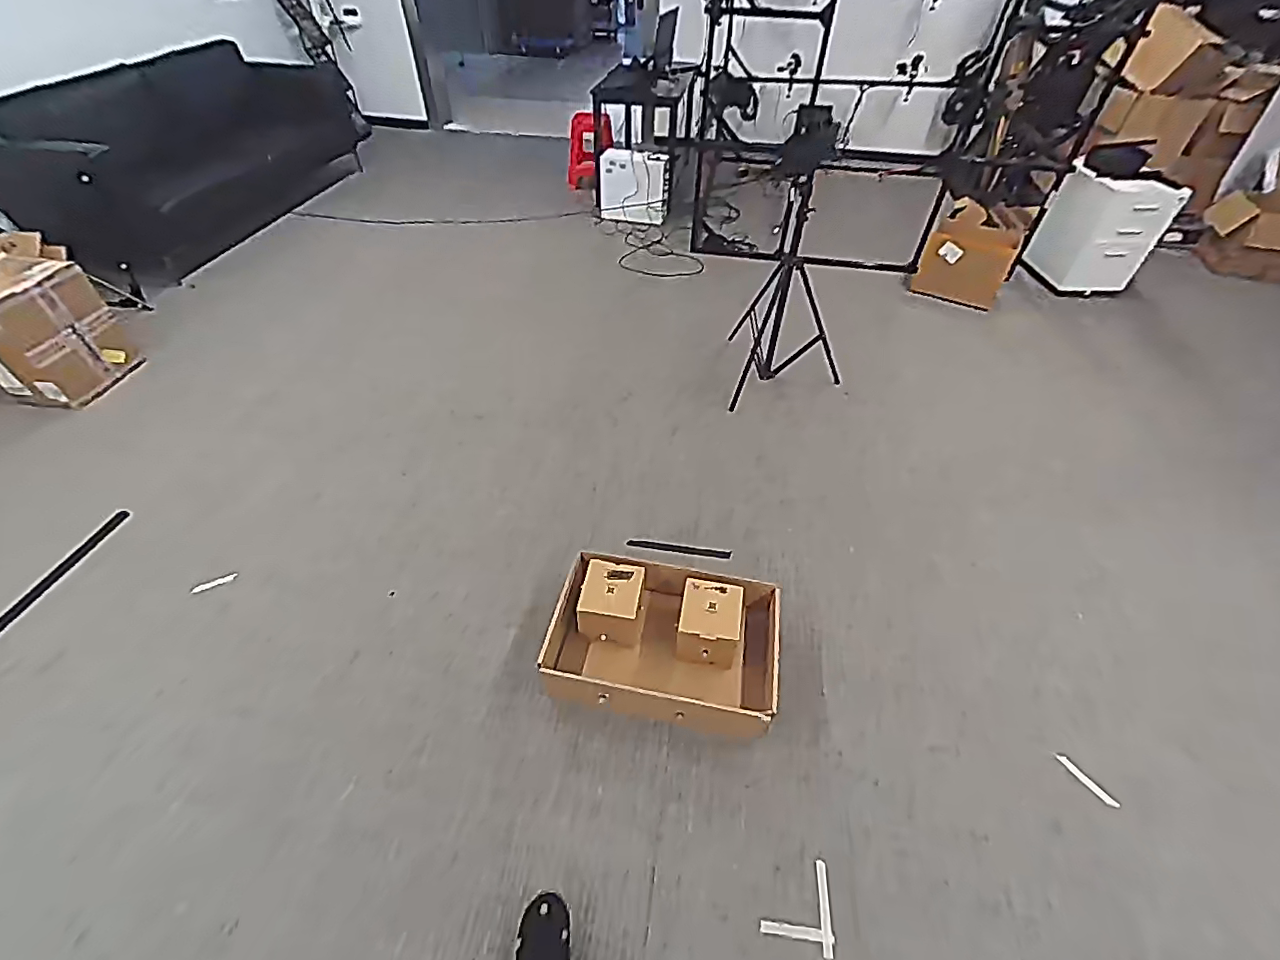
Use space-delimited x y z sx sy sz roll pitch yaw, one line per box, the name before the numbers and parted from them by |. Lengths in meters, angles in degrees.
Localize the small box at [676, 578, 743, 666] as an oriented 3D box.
small box | 0.199 0.409 1.550 0.168 0.176 0.179 8 48 10
